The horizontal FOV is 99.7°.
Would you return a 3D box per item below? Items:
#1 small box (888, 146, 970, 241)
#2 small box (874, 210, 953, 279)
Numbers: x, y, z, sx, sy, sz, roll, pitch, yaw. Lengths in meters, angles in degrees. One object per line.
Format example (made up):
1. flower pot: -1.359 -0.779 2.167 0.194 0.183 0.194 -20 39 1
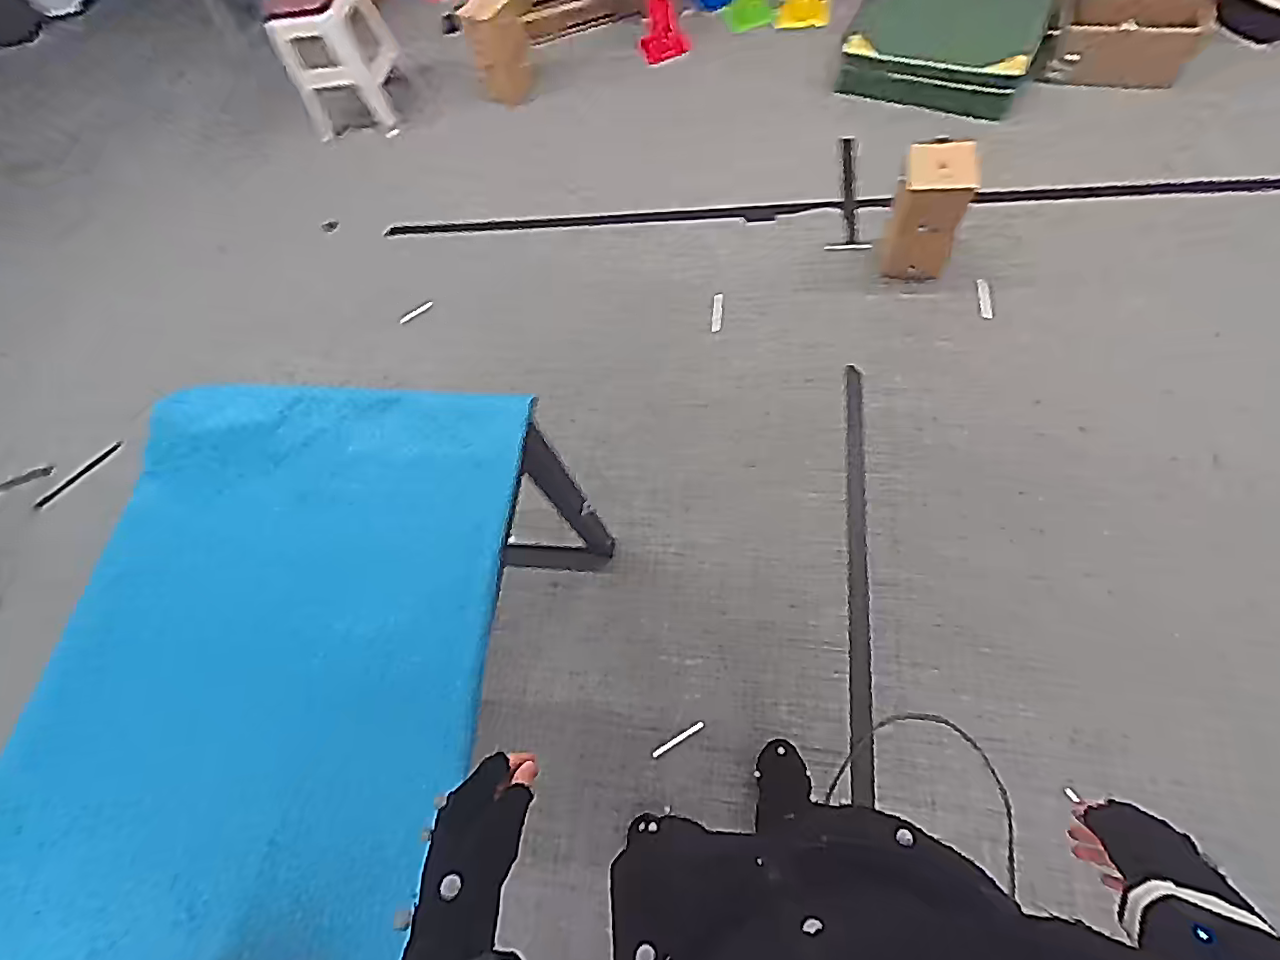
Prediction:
1. small box: 0.807 -0.806 1.525 0.168 0.176 0.179 5 69 12
2. small box: 0.840 -0.745 1.673 0.179 0.176 0.168 7 67 10
